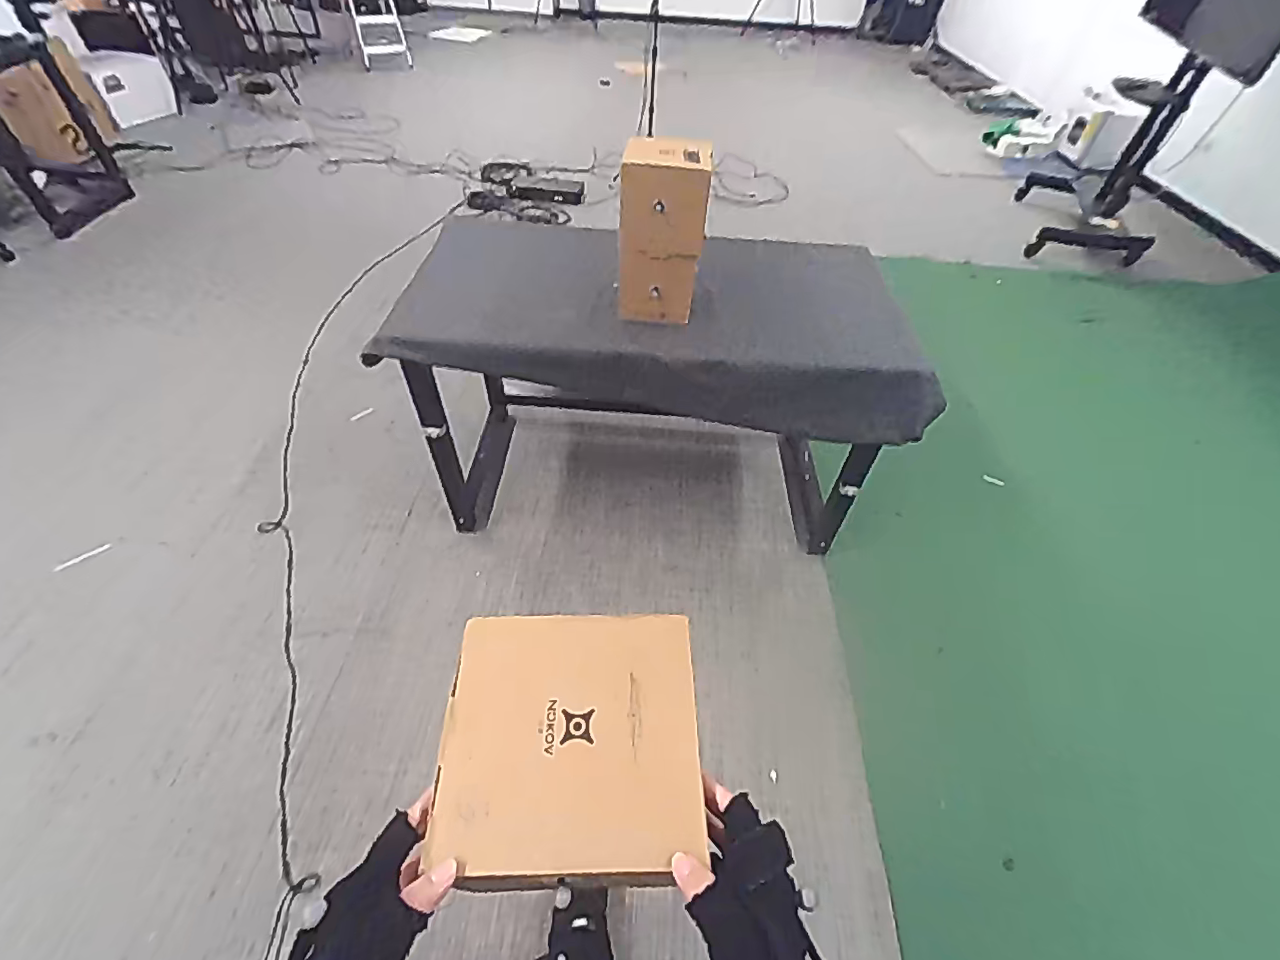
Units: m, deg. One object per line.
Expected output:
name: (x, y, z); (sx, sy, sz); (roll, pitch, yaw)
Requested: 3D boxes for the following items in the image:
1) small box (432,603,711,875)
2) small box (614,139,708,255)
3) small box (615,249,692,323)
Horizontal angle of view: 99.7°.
small box: (-0.046, 0.215, 0.442); (0.179, 0.176, 0.168); (-1, 52, -3)
small box: (0.043, -0.584, 1.122); (0.179, 0.176, 0.168); (4, 47, 3)
small box: (0.032, -0.480, 1.250); (0.168, 0.176, 0.179); (3, 48, 0)
